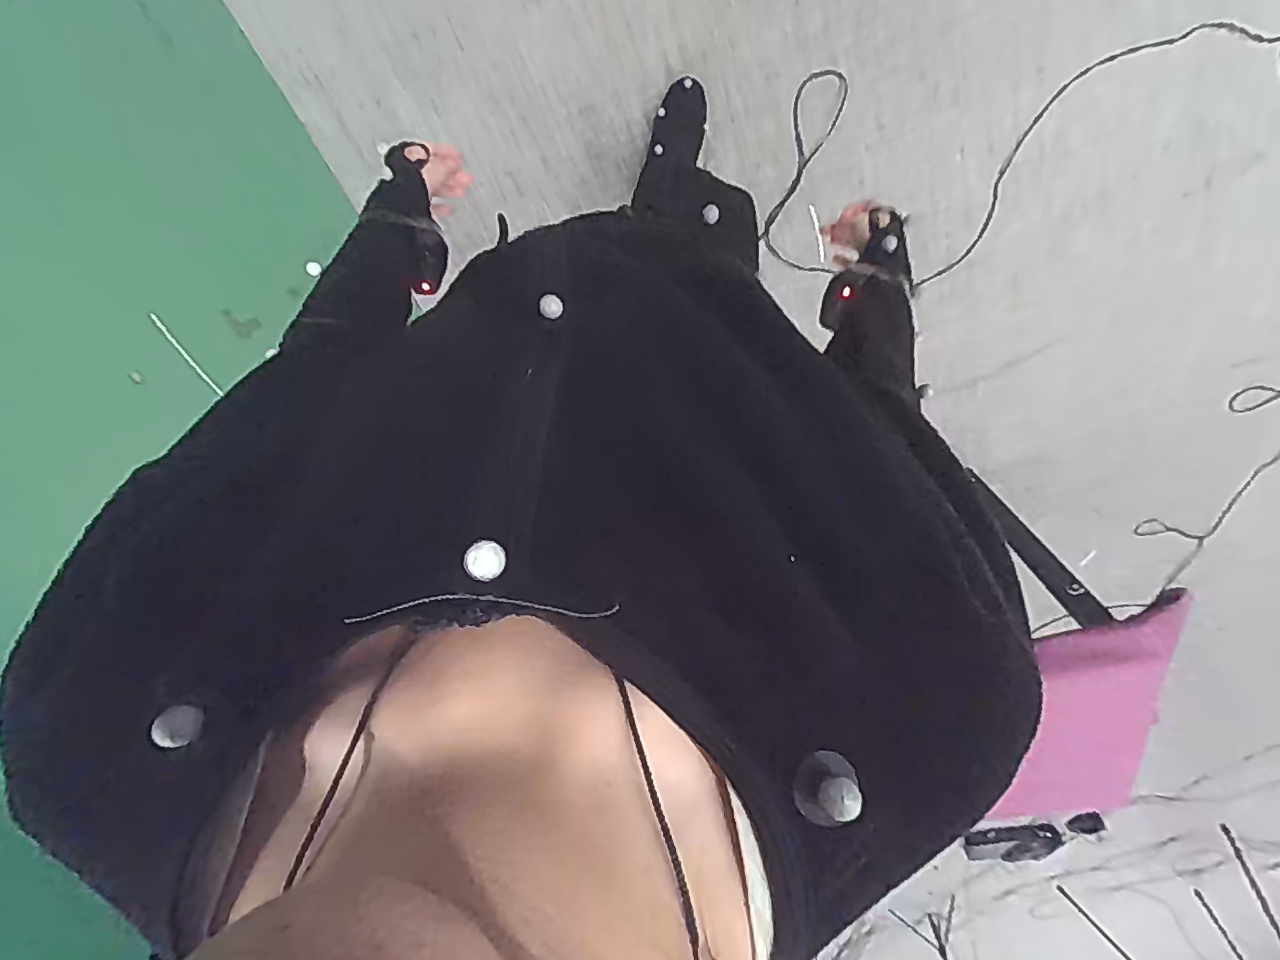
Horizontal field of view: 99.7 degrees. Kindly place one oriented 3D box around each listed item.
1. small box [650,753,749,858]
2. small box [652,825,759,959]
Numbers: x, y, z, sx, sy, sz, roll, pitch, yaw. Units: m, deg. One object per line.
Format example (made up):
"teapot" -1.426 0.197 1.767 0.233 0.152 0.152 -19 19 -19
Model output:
"small box" 0.130 0.749 1.228 0.179 0.176 0.168 -19 121 12
"small box" 0.128 0.825 1.081 0.168 0.176 0.179 -18 122 9
